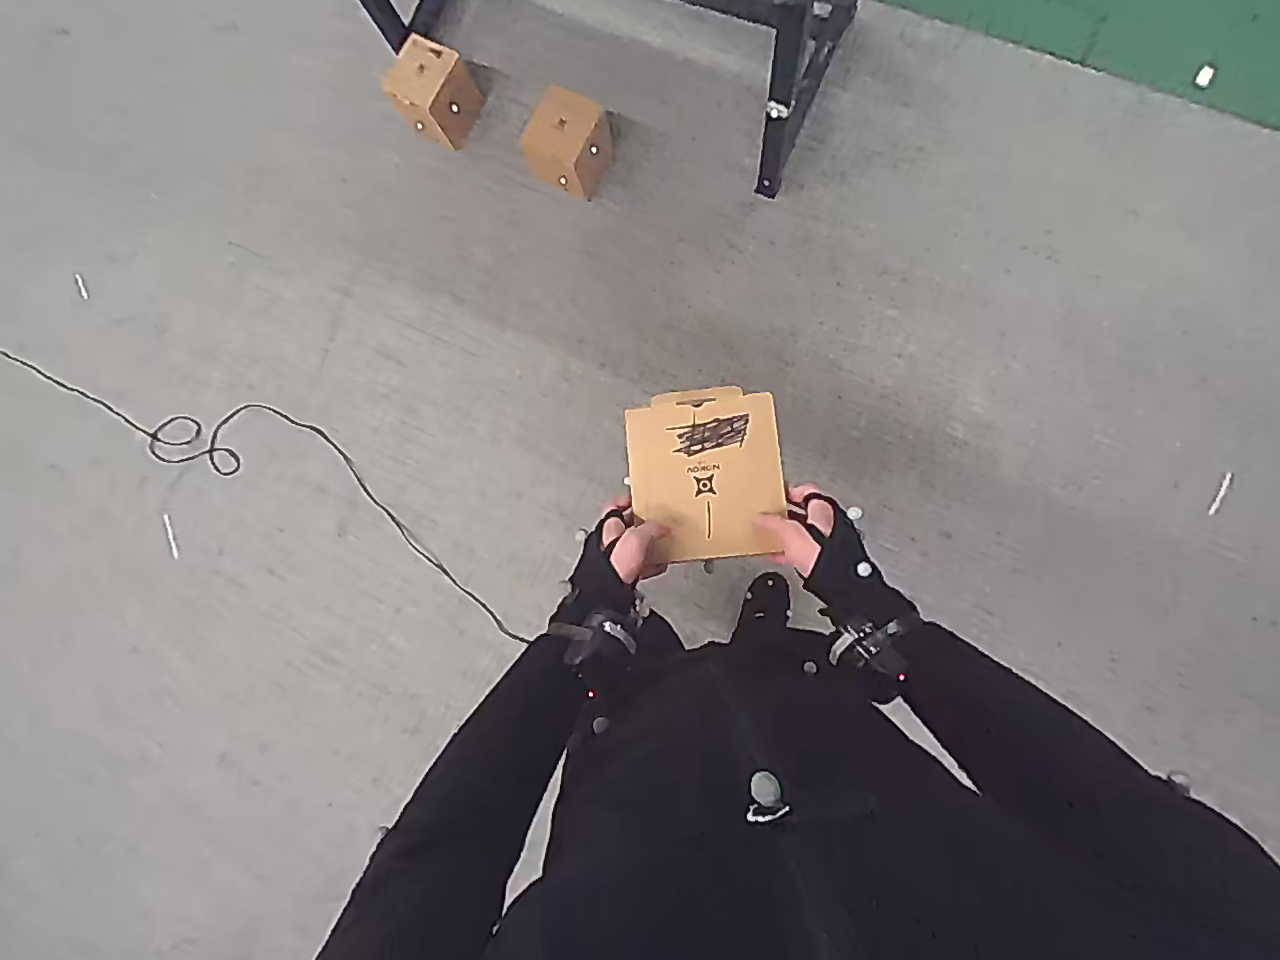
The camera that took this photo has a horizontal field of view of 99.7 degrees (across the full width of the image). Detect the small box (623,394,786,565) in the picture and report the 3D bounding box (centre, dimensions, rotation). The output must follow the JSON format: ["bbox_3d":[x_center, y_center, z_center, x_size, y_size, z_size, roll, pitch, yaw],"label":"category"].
[{"bbox_3d":[0.077,0.011,0.660,0.168,0.176,0.179,-6,81,8],"label":"small box"}]

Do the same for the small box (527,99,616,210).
[{"bbox_3d":[-0.179,-0.886,1.490,0.168,0.176,0.179,27,88,9],"label":"small box"}]
